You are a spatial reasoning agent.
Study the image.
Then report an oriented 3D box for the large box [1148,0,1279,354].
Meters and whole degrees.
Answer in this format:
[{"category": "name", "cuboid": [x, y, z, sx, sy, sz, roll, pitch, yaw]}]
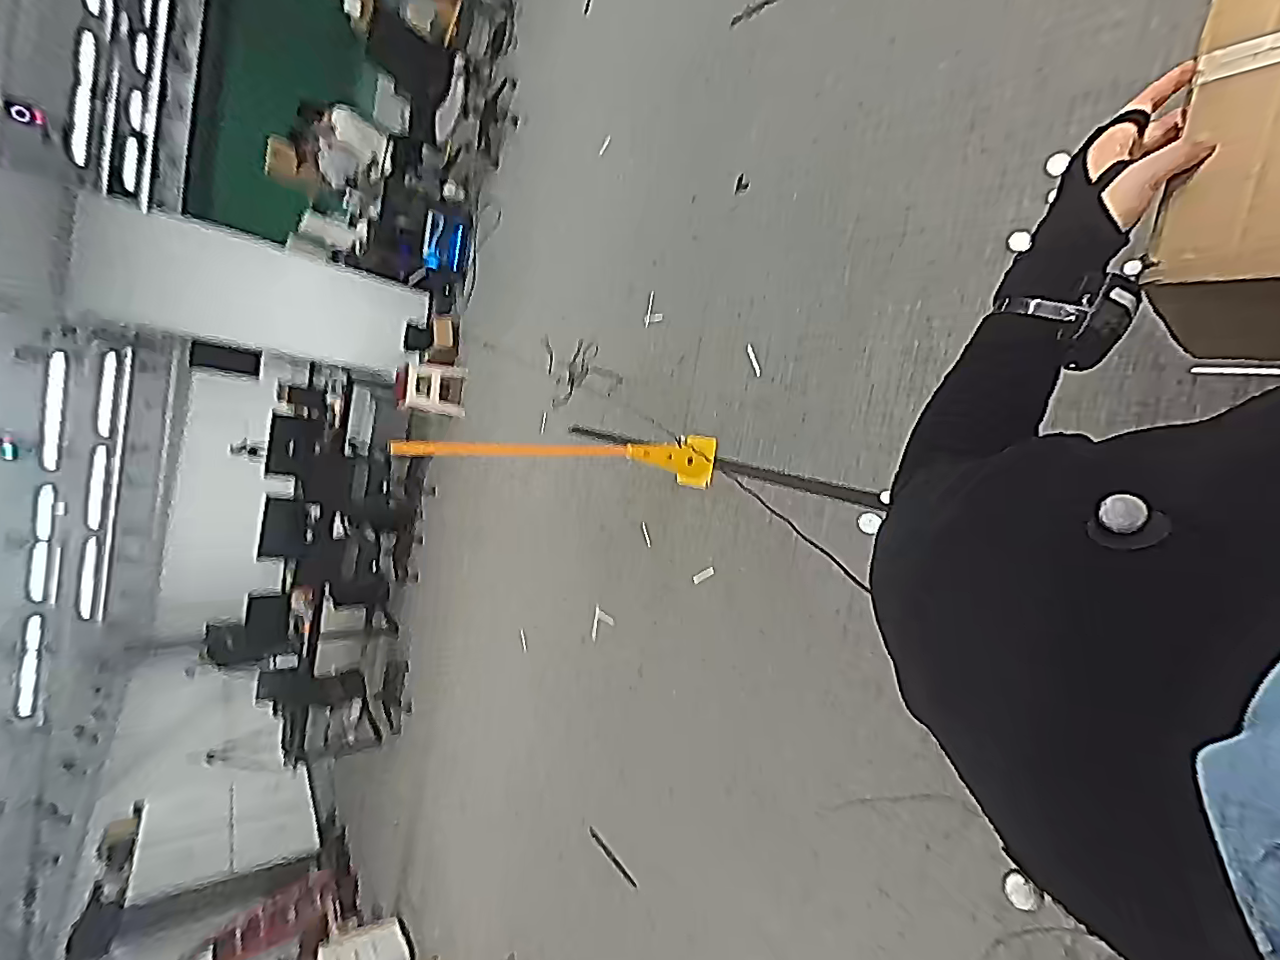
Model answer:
[{"category": "large box", "cuboid": [0.664, -0.265, 0.354, 0.408, 0.320, 0.320, 16, 99, 51]}]
